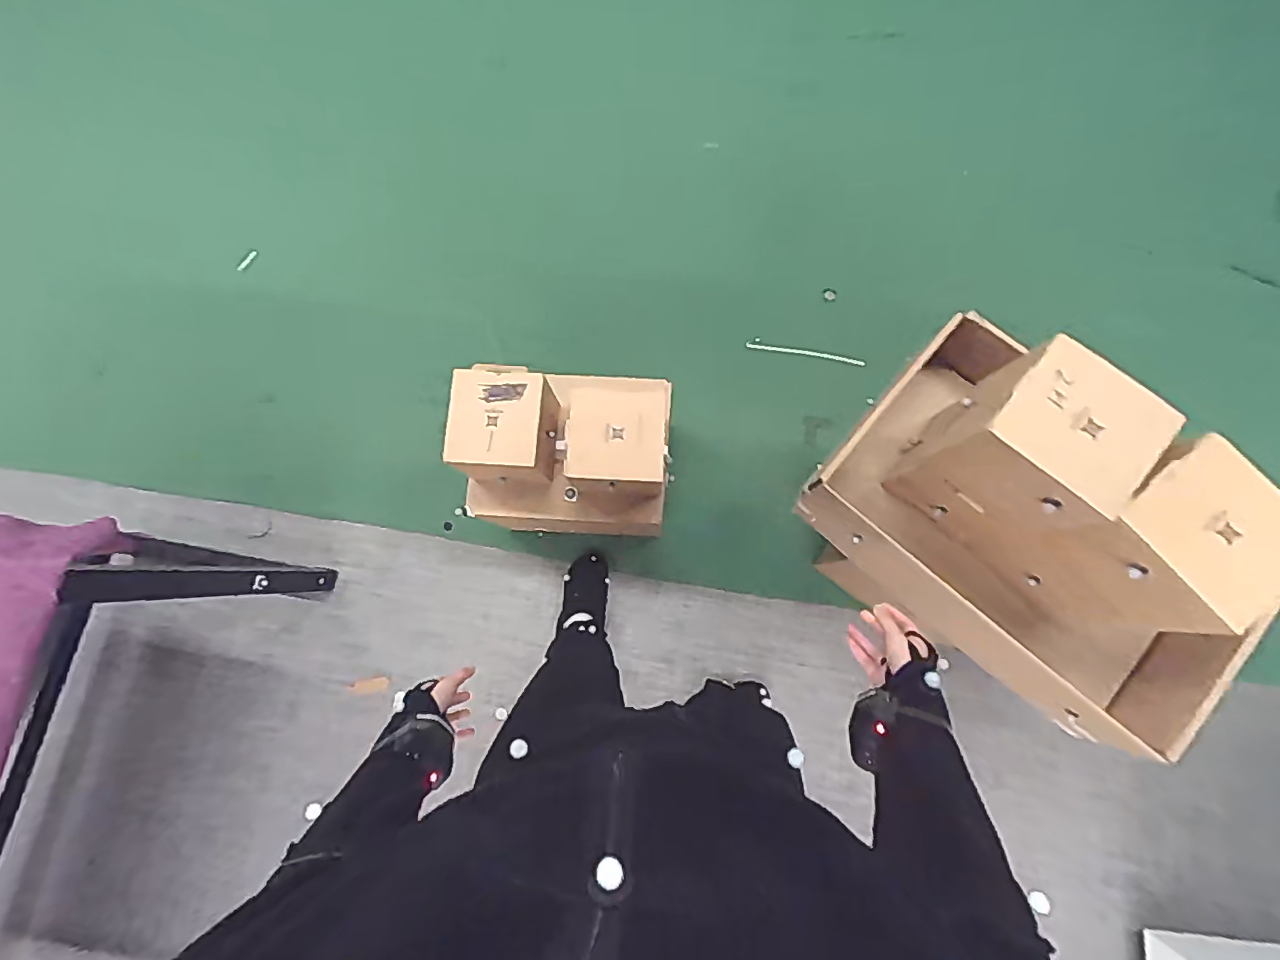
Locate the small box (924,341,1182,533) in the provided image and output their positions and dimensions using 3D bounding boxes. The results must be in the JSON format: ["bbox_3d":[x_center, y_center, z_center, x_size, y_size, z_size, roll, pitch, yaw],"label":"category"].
[{"bbox_3d":[0.531,-0.044,0.722,0.179,0.176,0.168,40,82,9],"label":"small box"}]

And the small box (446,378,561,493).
[{"bbox_3d":[-0.253,-0.080,1.044,0.168,0.176,0.179,3,78,3],"label":"small box"}]

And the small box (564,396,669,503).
[{"bbox_3d":[-0.037,-0.051,1.030,0.179,0.176,0.168,3,80,3],"label":"small box"}]
